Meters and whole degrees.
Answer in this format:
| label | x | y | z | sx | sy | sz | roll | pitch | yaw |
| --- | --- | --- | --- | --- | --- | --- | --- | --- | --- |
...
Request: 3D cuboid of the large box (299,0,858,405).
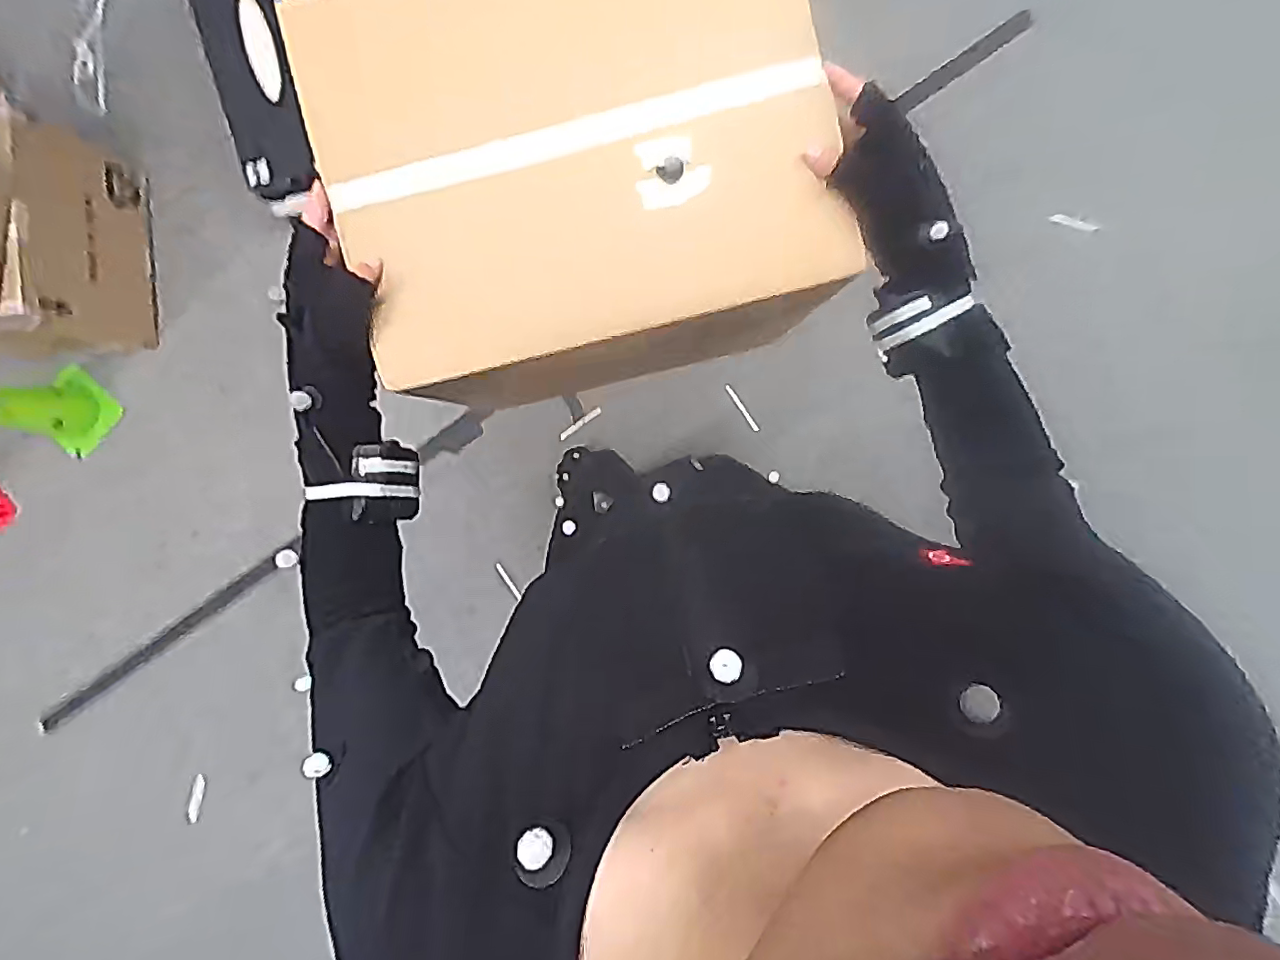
| label | x | y | z | sx | sy | sz | roll | pitch | yaw |
| --- | --- | --- | --- | --- | --- | --- | --- | --- | --- |
| large box | -0.049 | -0.287 | 0.585 | 0.408 | 0.320 | 0.320 | -13 | 94 | 0 |
